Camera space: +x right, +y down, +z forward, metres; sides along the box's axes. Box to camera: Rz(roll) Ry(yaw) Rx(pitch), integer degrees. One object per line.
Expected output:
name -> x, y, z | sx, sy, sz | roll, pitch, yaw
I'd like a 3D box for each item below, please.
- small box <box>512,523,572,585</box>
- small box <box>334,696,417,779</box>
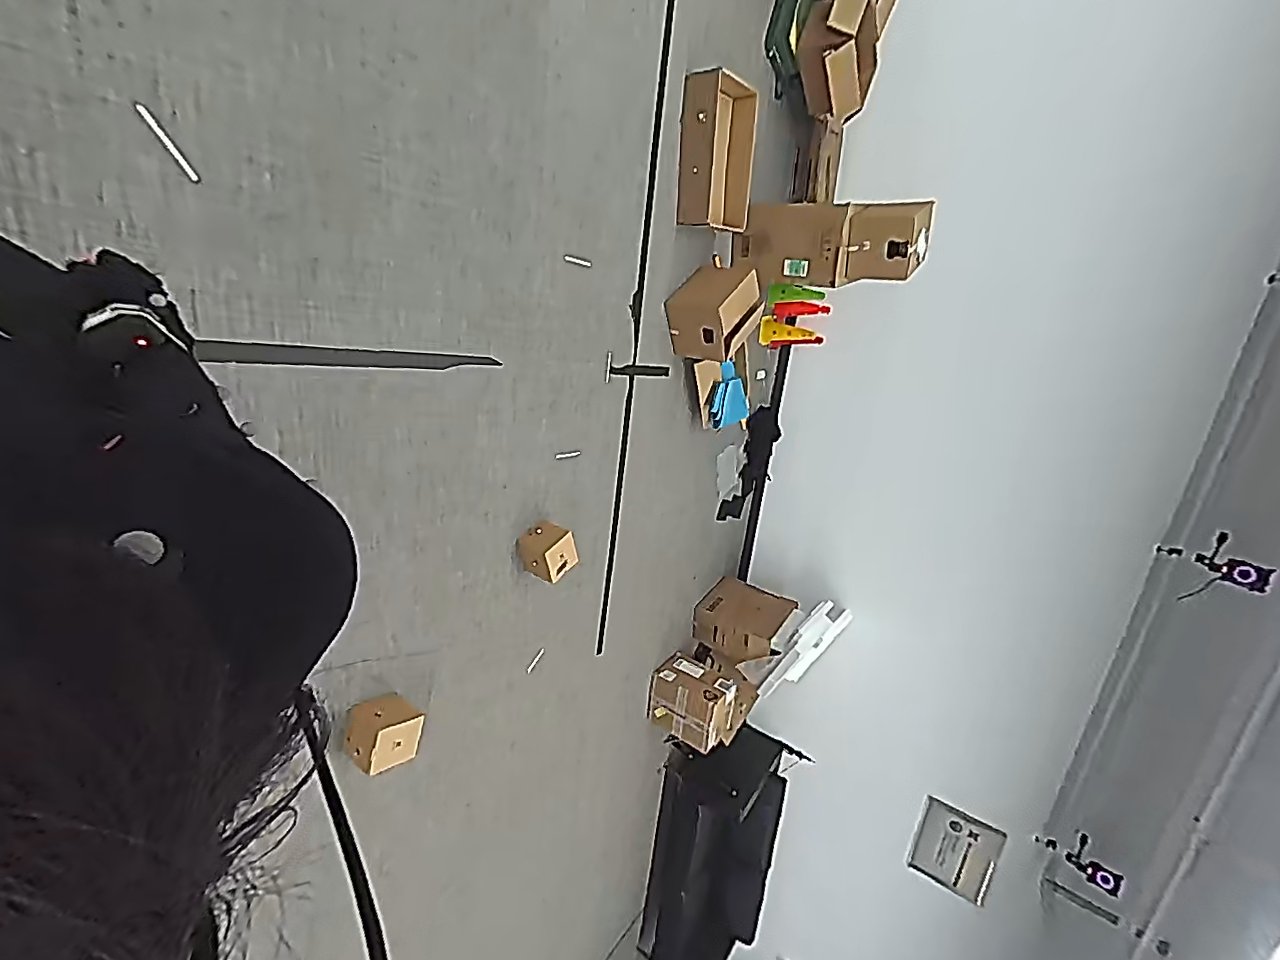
small box -> -0.417, 0.311, 2.304 | 0.168, 0.176, 0.179 | -42, 136, -41
small box -> -0.896, 0.862, 1.827 | 0.179, 0.176, 0.168 | 7, 100, -59
